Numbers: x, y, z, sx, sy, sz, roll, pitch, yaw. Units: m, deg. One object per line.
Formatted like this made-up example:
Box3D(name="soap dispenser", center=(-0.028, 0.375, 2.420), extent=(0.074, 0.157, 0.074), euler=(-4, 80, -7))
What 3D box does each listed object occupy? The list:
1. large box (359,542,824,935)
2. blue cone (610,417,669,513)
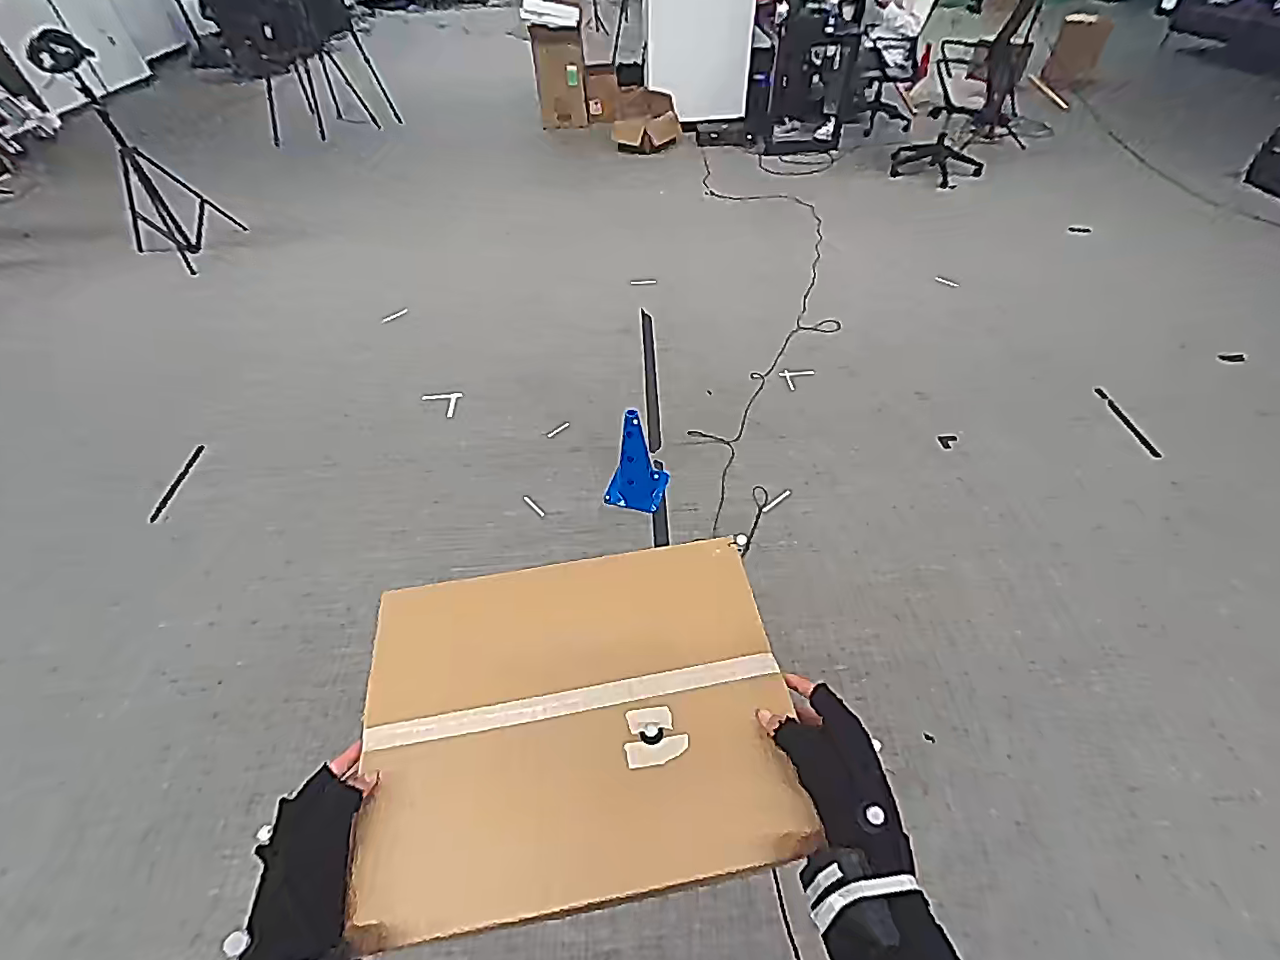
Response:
Box3D(name="large box", center=(-0.056, 0.314, 0.658), extent=(0.408, 0.320, 0.320), euler=(-8, 51, -5))
Box3D(name="blue cone", center=(-0.009, -0.074, 1.857), extent=(0.193, 0.380, 0.192), euler=(12, 50, 15))
